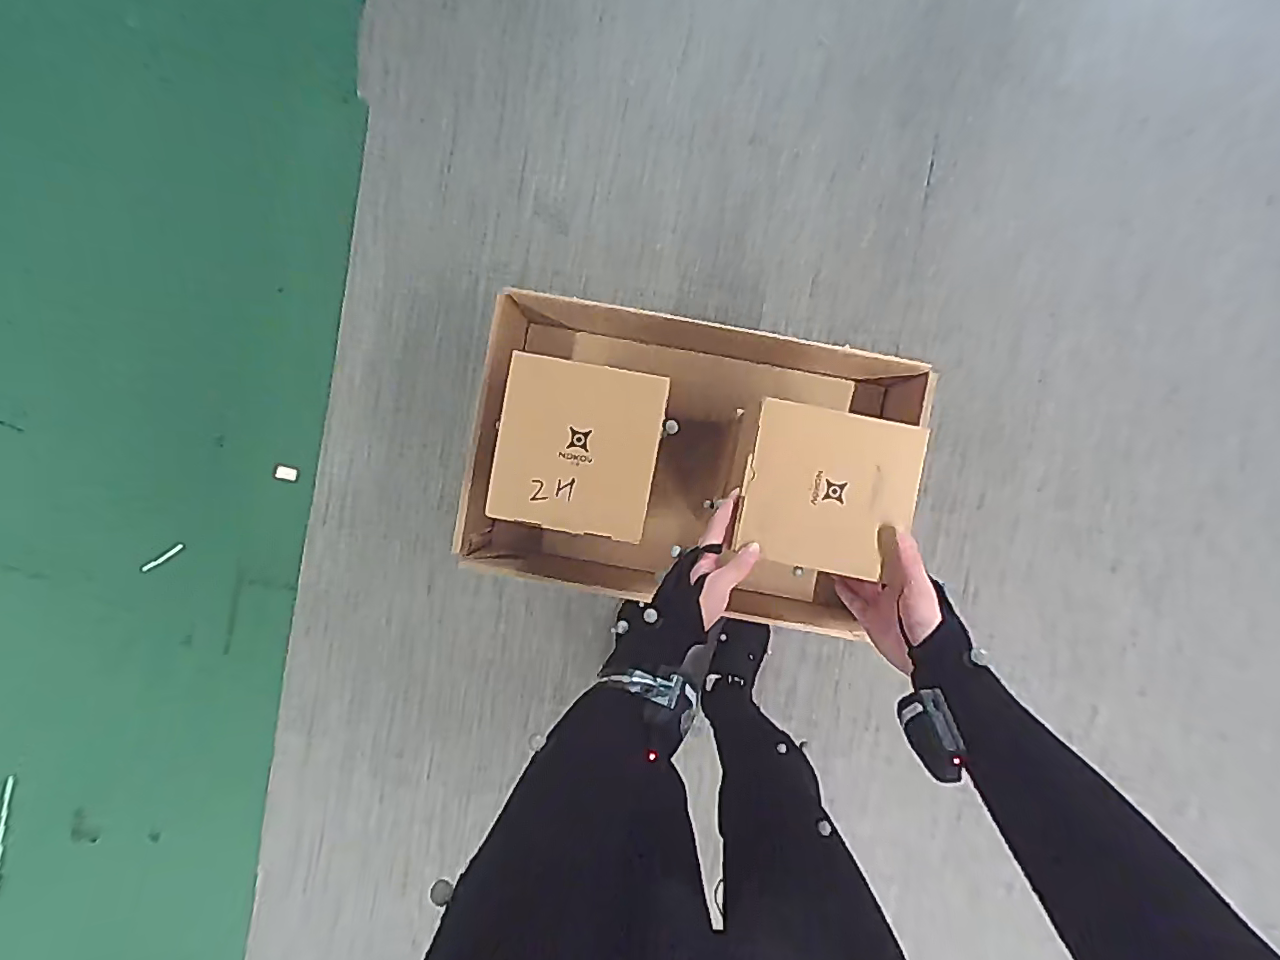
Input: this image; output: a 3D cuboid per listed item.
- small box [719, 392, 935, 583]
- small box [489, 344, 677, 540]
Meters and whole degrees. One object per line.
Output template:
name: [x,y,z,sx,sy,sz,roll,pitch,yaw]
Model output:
small box: [0.197,0.009,0.625,0.179,0.176,0.168,12,90,0]
small box: [-0.058,-0.040,0.628,0.168,0.176,0.179,11,91,1]
